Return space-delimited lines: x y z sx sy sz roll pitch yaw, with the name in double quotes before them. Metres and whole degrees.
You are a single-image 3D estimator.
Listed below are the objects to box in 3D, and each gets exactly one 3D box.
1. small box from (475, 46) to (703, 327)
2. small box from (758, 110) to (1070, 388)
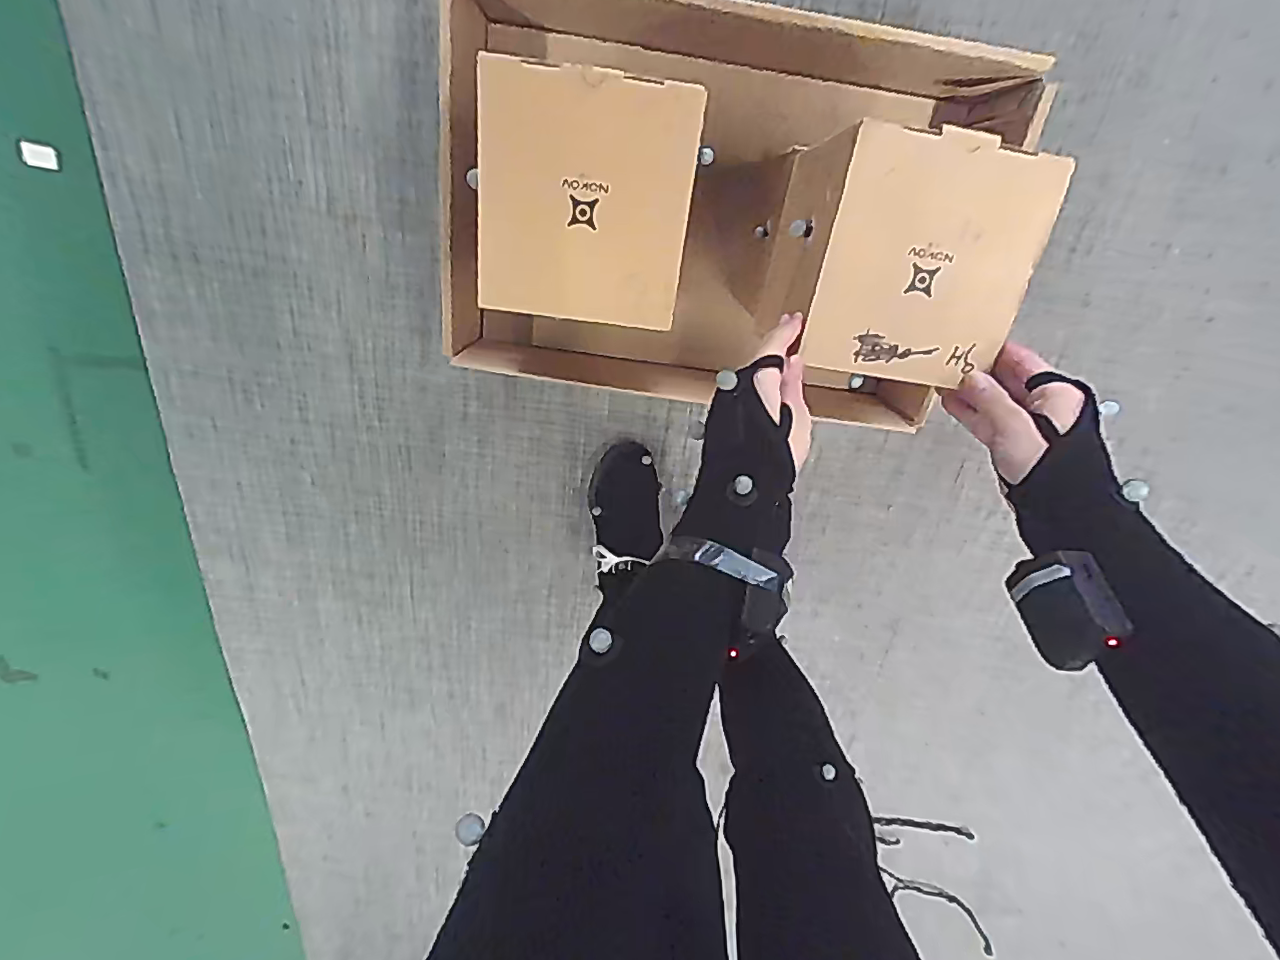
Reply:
"small box" -0.044 -0.251 0.490 0.168 0.176 0.179 7 115 -3
"small box" 0.217 -0.197 0.488 0.168 0.176 0.179 8 112 -5
